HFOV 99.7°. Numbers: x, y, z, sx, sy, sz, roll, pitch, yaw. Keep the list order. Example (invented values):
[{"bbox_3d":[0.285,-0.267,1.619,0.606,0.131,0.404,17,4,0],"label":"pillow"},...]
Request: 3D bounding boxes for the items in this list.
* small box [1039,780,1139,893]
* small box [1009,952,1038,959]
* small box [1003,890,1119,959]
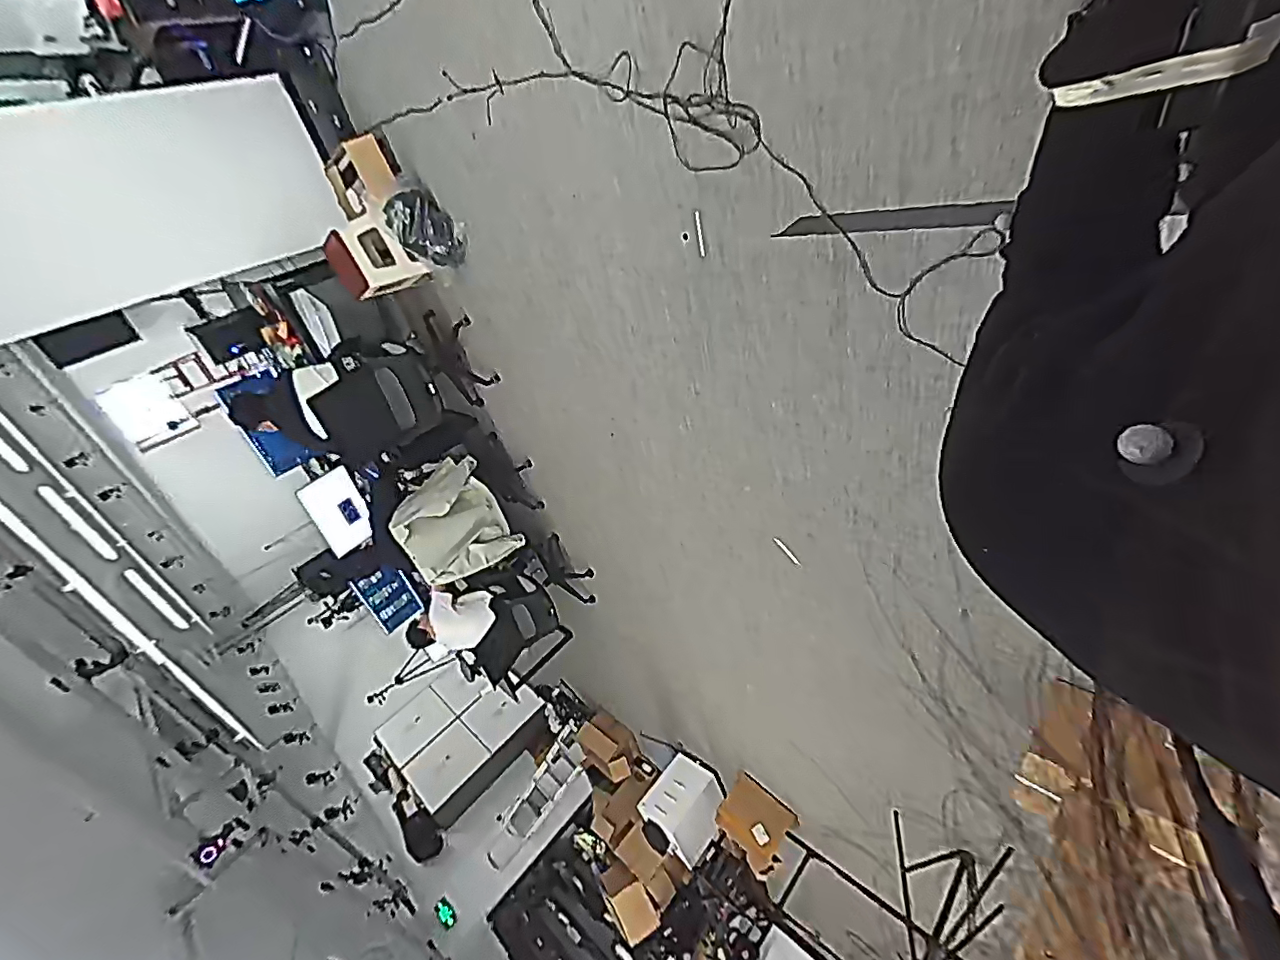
[{"bbox_3d":[1.261,0.991,1.519,0.179,0.176,0.168,19,135,42],"label":"small box"},{"bbox_3d":[0.940,1.257,1.262,0.179,0.176,0.168,21,137,38],"label":"small box"},{"bbox_3d":[1.046,1.170,1.346,0.179,0.176,0.168,21,138,39],"label":"small box"}]
